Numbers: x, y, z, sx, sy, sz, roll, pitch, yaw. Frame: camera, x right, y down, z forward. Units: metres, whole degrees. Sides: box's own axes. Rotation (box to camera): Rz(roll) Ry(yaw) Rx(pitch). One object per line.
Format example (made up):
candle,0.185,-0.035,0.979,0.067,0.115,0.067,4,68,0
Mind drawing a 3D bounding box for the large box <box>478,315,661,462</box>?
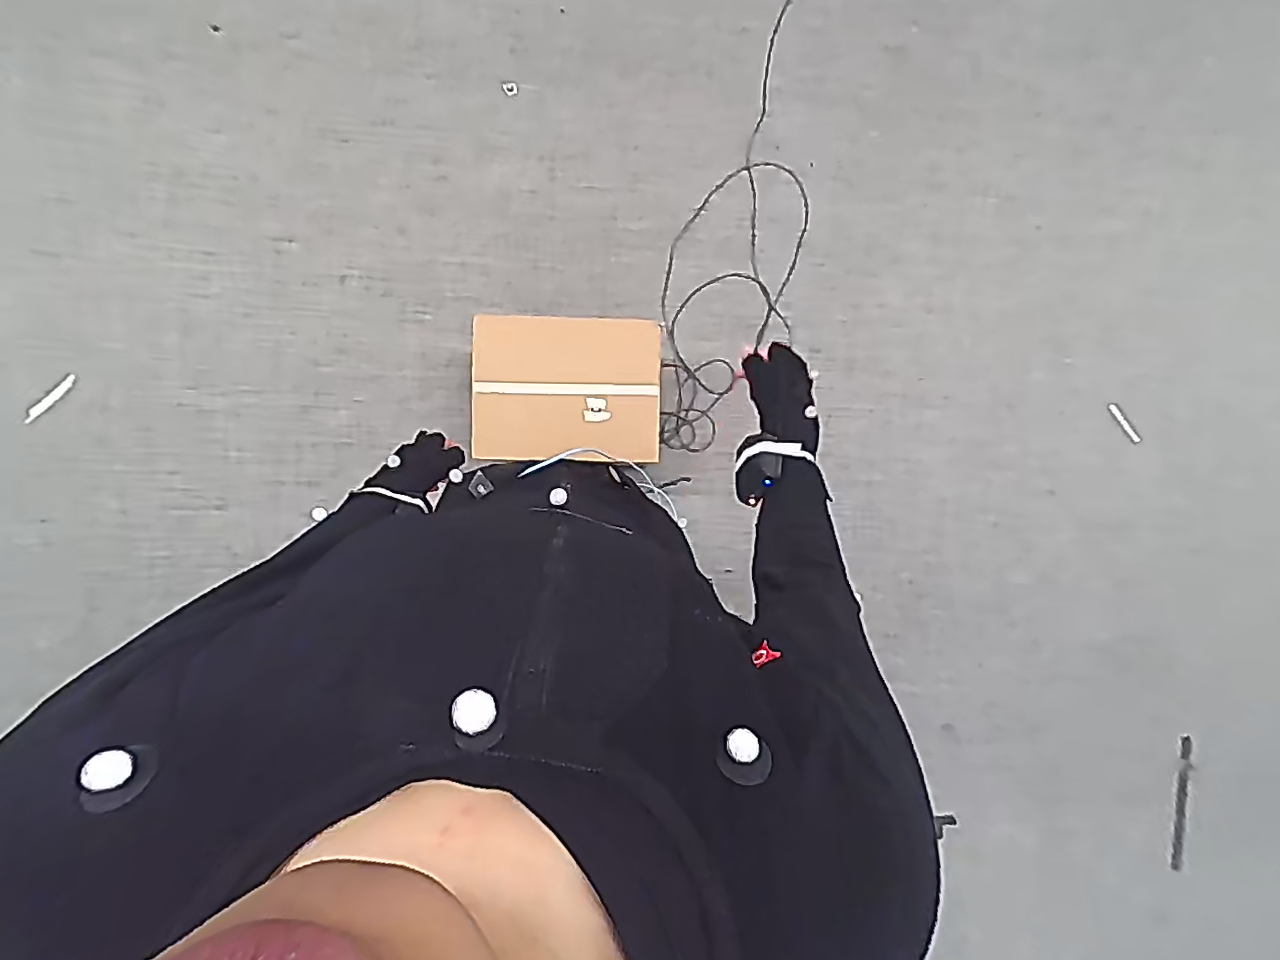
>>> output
large box,-0.163,-0.202,1.329,0.408,0.320,0.320,1,91,-3
